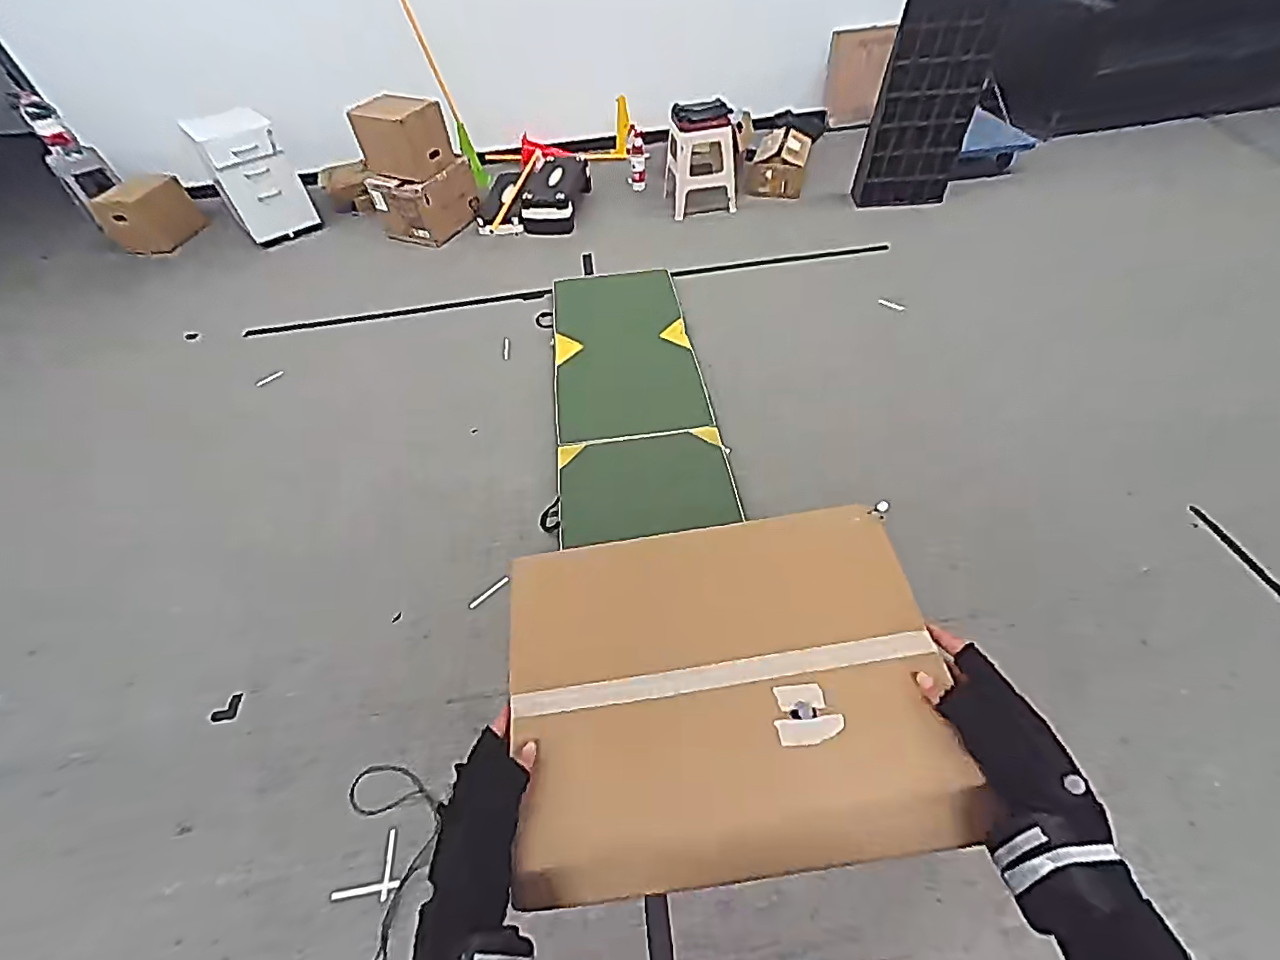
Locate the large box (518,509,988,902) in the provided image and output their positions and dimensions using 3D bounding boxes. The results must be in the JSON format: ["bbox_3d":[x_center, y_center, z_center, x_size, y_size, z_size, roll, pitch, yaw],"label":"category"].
[{"bbox_3d":[0.089,0.272,0.655,0.408,0.320,0.320,-9,57,0],"label":"large box"}]
